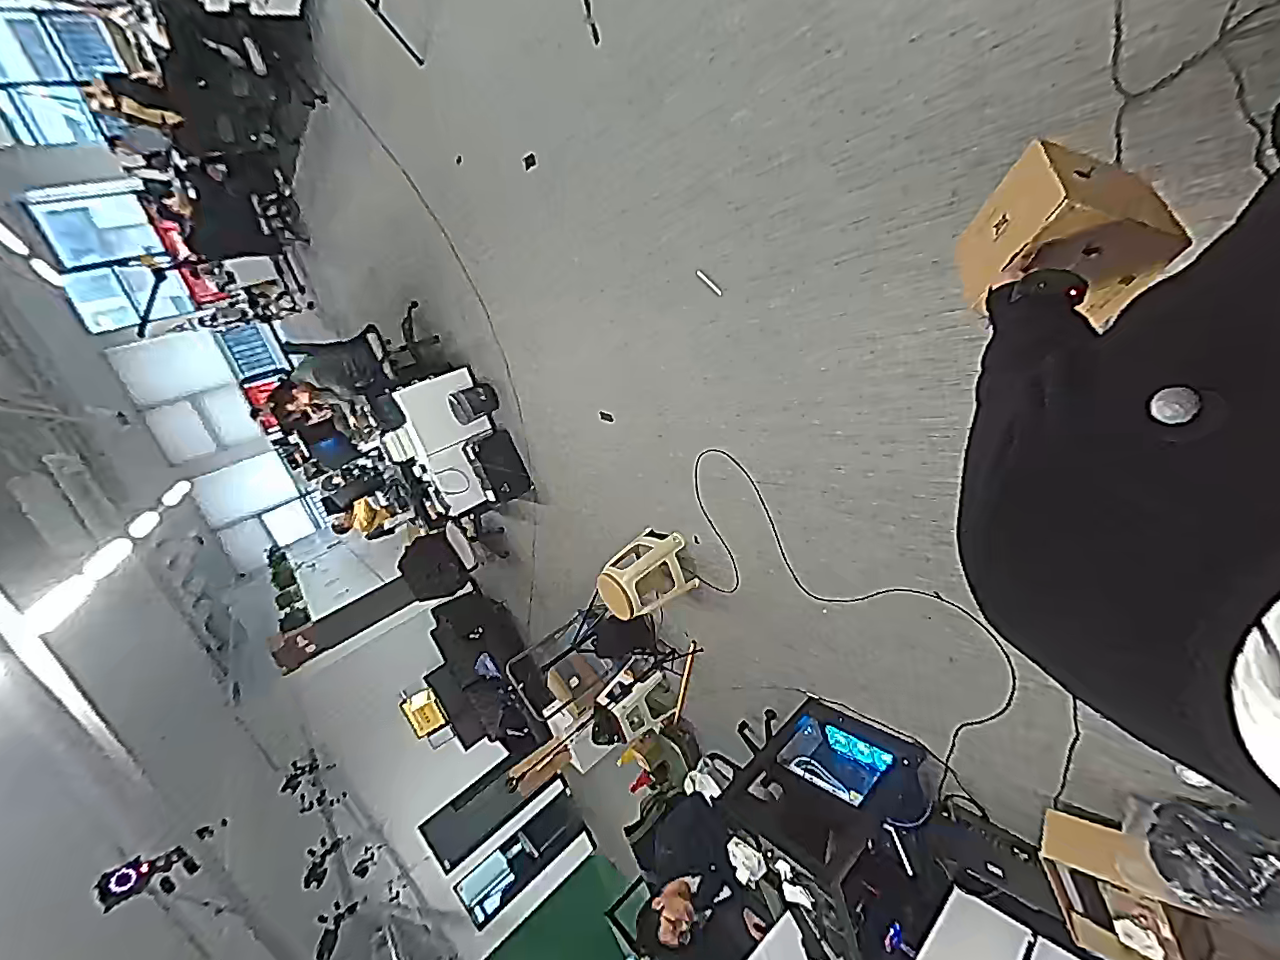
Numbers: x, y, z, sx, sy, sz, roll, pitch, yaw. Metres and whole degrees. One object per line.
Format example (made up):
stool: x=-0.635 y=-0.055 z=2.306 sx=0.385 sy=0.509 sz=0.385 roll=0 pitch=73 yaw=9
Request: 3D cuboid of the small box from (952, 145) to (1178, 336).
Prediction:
small box: x=0.578 y=-0.325 z=0.755 sx=0.176 sy=0.179 sz=0.168 roll=19 pitch=143 yaw=-4
